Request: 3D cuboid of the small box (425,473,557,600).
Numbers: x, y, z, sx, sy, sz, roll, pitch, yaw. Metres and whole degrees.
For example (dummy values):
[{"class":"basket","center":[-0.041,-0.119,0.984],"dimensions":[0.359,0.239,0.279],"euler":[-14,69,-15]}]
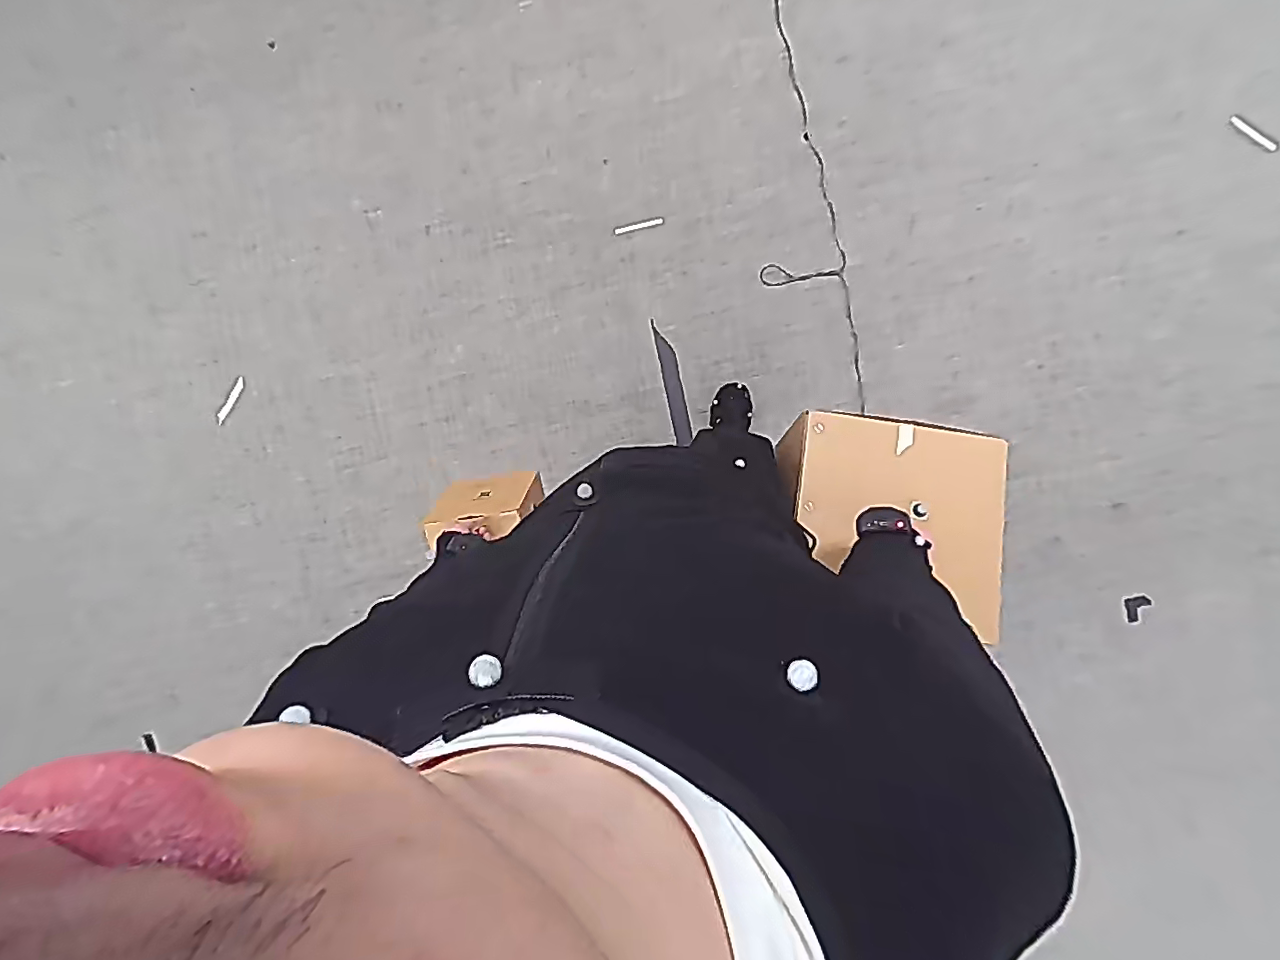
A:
[{"class":"small box","center":[-0.259,0.107,0.989],"dimensions":[0.168,0.179,0.176],"euler":[-8,112,5]}]
